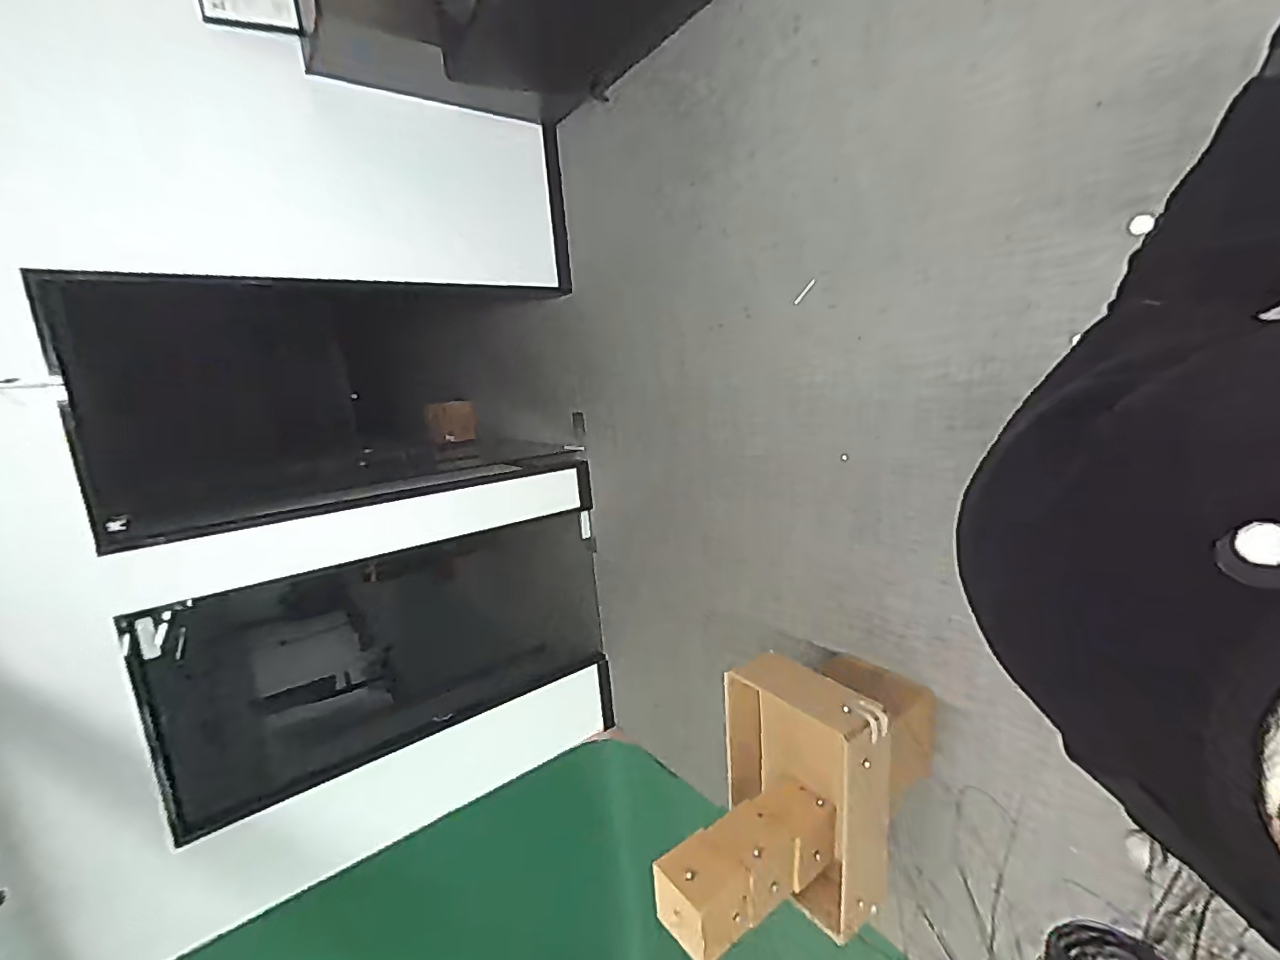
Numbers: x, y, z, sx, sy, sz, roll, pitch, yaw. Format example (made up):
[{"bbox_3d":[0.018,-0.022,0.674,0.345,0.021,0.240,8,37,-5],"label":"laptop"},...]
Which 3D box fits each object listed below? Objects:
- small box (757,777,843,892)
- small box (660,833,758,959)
[{"bbox_3d":[0.448,0.977,1.510,0.168,0.176,0.179,14,111,53],"label":"small box"},{"bbox_3d":[0.171,1.023,1.343,0.179,0.176,0.168,10,108,53],"label":"small box"}]
